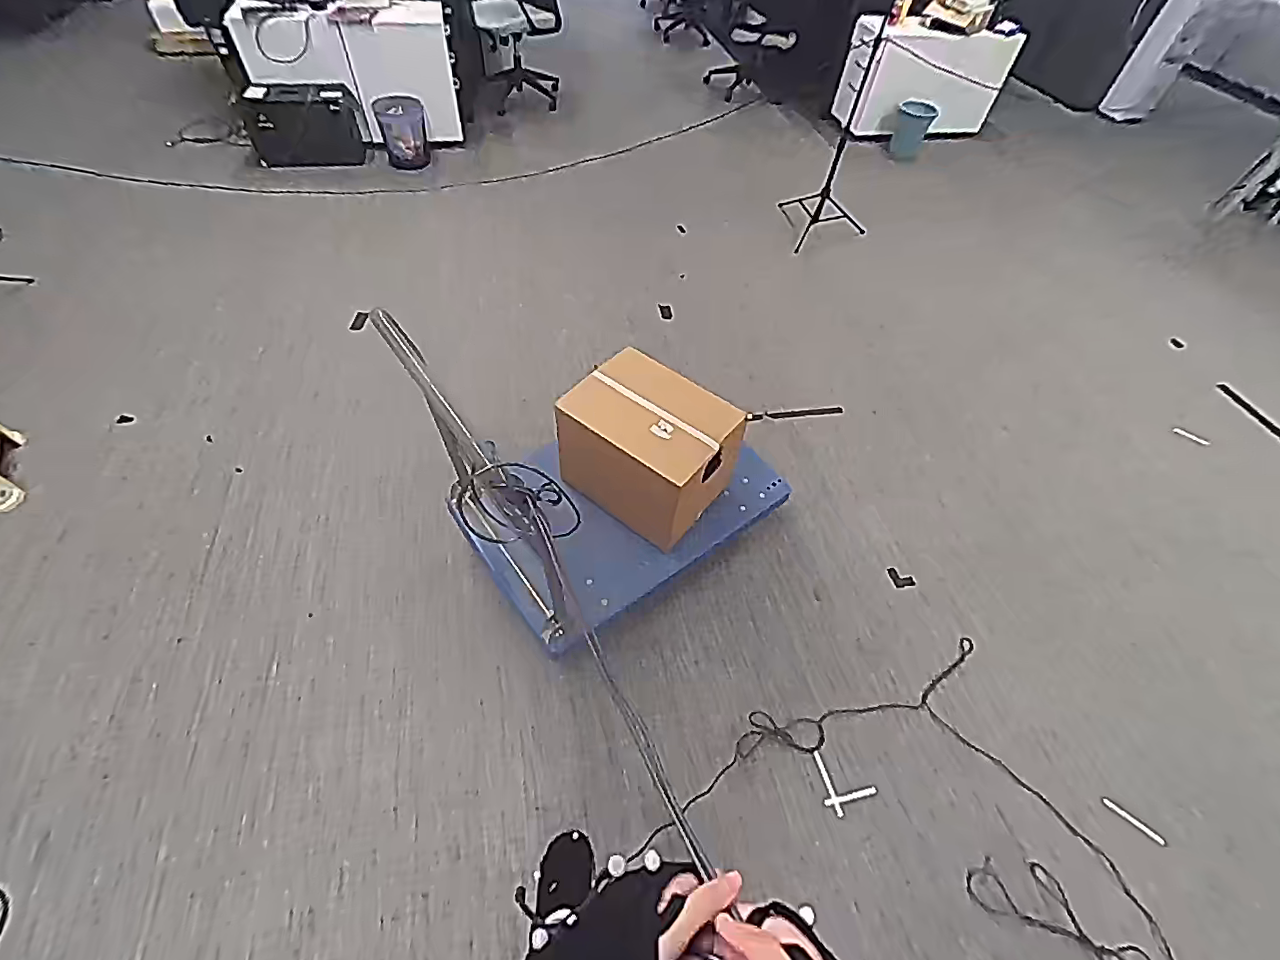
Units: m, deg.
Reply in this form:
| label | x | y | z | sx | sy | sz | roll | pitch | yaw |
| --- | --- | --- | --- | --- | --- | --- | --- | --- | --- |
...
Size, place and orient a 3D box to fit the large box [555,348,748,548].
| label | x | y | z | sx | sy | sz | roll | pitch | yaw |
| --- | --- | --- | --- | --- | --- | --- | --- | --- | --- |
| large box | 0.017 | -0.090 | 1.492 | 0.408 | 0.320 | 0.320 | 34 | 59 | 18 |
